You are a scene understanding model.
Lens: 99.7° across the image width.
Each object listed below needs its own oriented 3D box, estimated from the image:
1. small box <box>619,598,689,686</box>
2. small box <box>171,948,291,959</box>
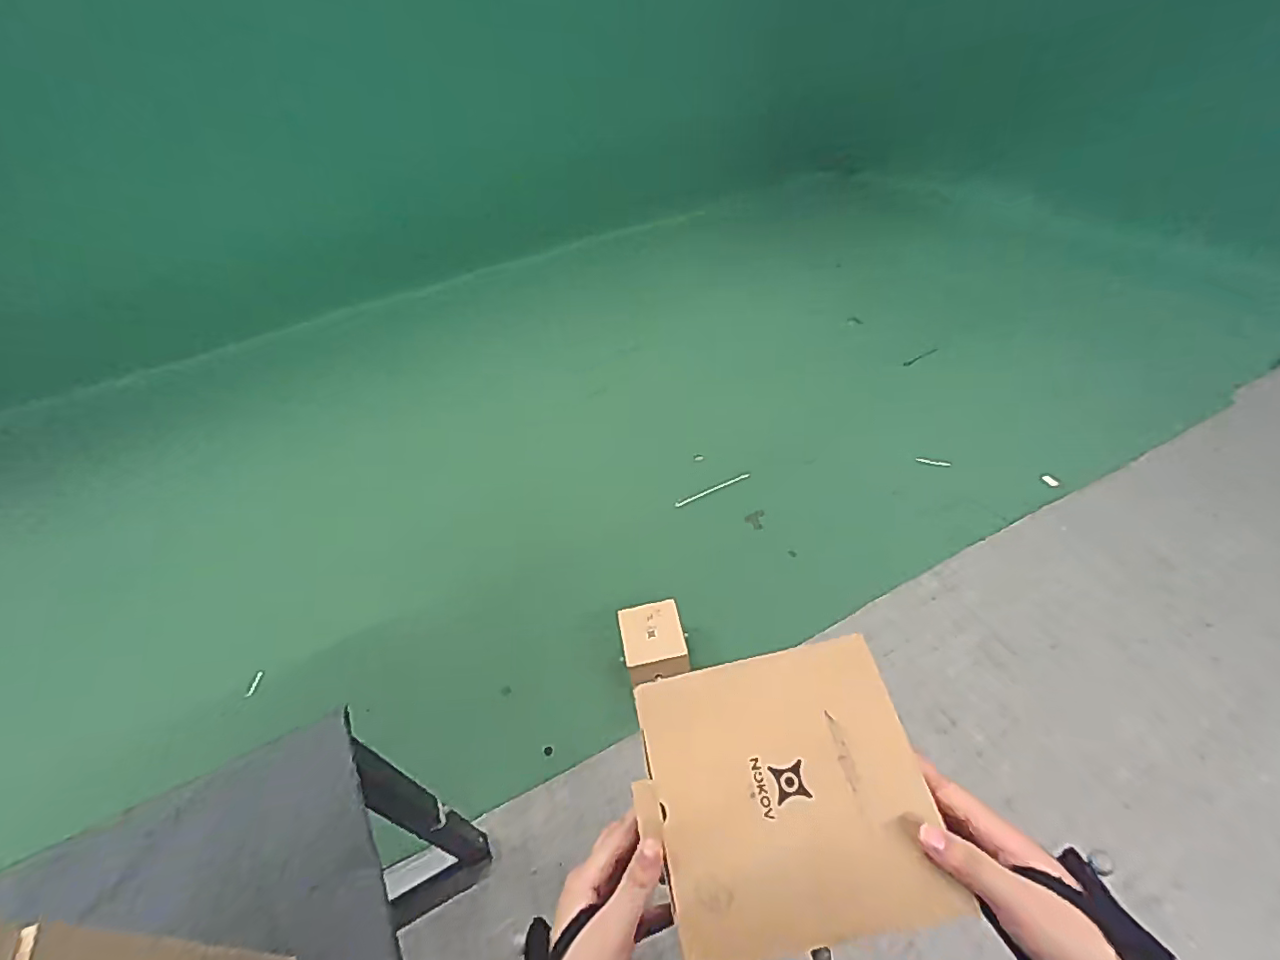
[{"bbox_3d":[0.041,0.461,1.518,0.168,0.176,0.179,-10,45,-3],"label":"small box"},{"bbox_3d":[-0.427,0.554,0.472,0.179,0.176,0.168,-24,48,-13],"label":"small box"}]
